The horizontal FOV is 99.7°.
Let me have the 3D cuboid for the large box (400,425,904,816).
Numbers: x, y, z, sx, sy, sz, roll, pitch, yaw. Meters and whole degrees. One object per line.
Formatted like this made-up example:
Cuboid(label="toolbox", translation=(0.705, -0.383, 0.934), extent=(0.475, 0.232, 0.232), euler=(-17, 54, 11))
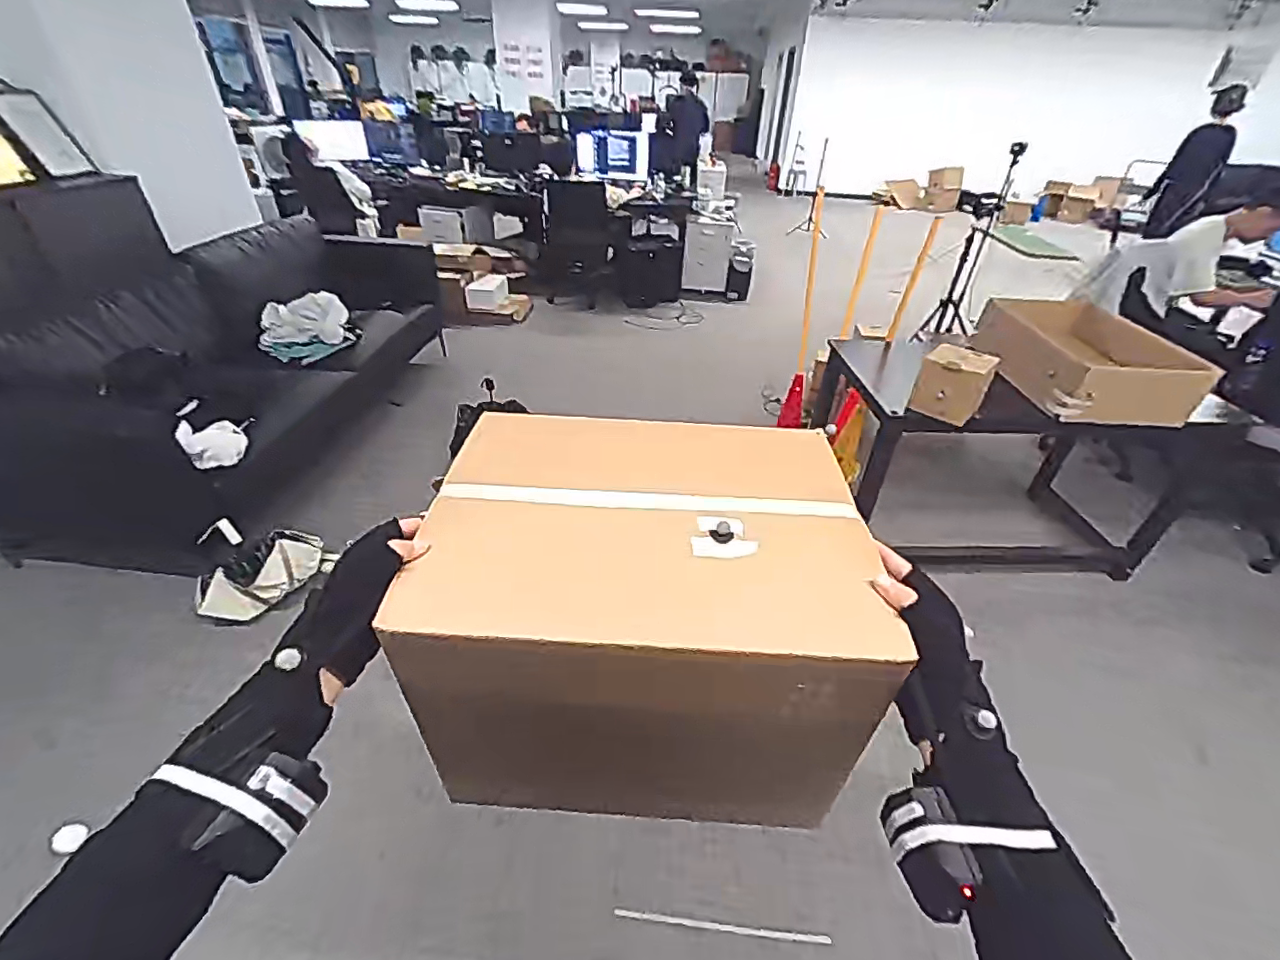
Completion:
Cuboid(label="large box", translation=(0.005, 0.153, 0.624), extent=(0.408, 0.320, 0.320), euler=(4, 38, 0))
